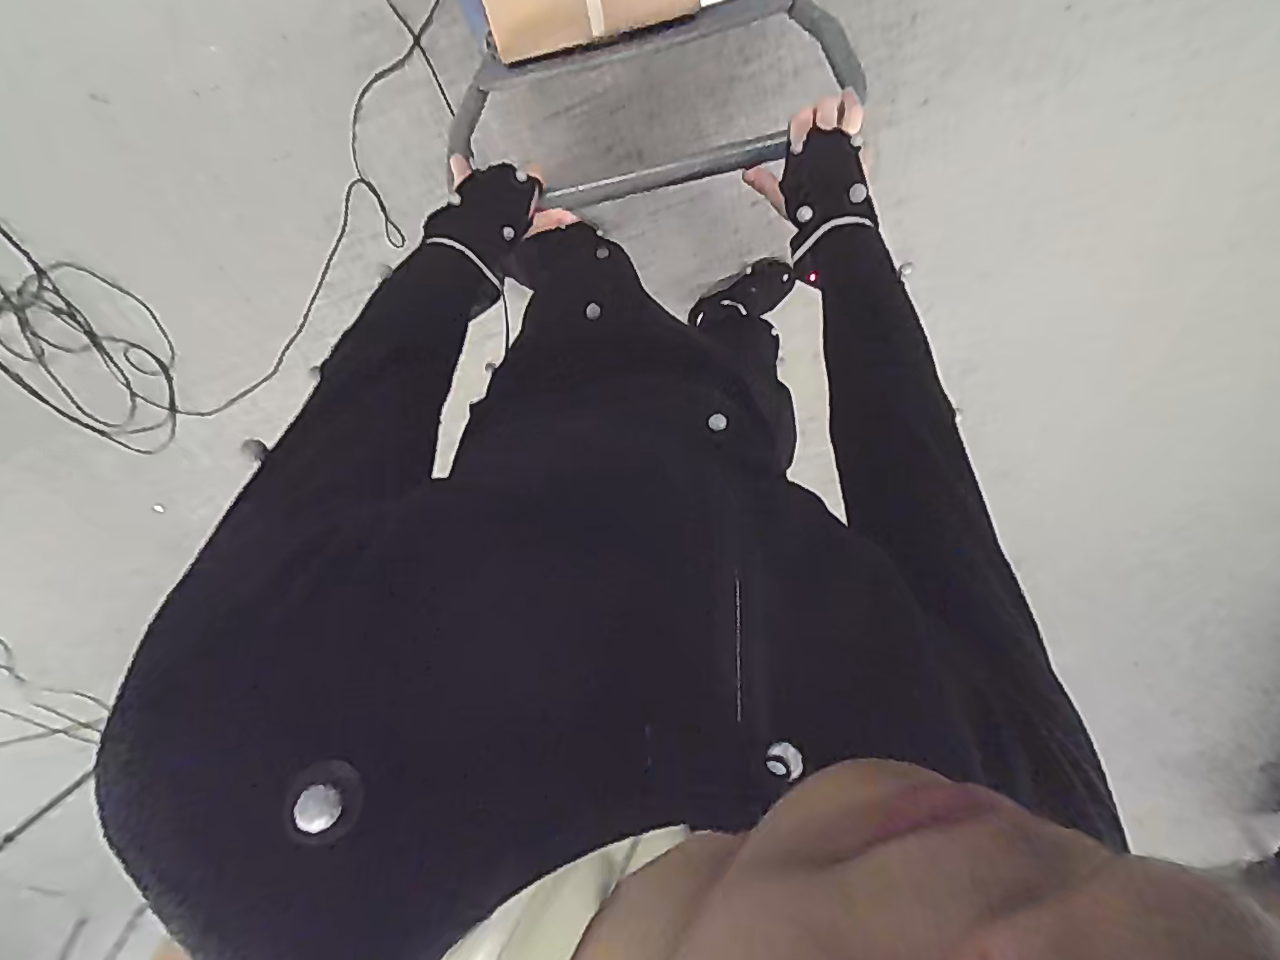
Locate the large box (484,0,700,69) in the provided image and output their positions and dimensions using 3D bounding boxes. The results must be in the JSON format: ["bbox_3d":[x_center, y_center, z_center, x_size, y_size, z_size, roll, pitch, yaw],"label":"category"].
[{"bbox_3d":[-0.106,-0.908,0.795,0.320,0.320,0.408,-10,135,7],"label":"large box"}]
